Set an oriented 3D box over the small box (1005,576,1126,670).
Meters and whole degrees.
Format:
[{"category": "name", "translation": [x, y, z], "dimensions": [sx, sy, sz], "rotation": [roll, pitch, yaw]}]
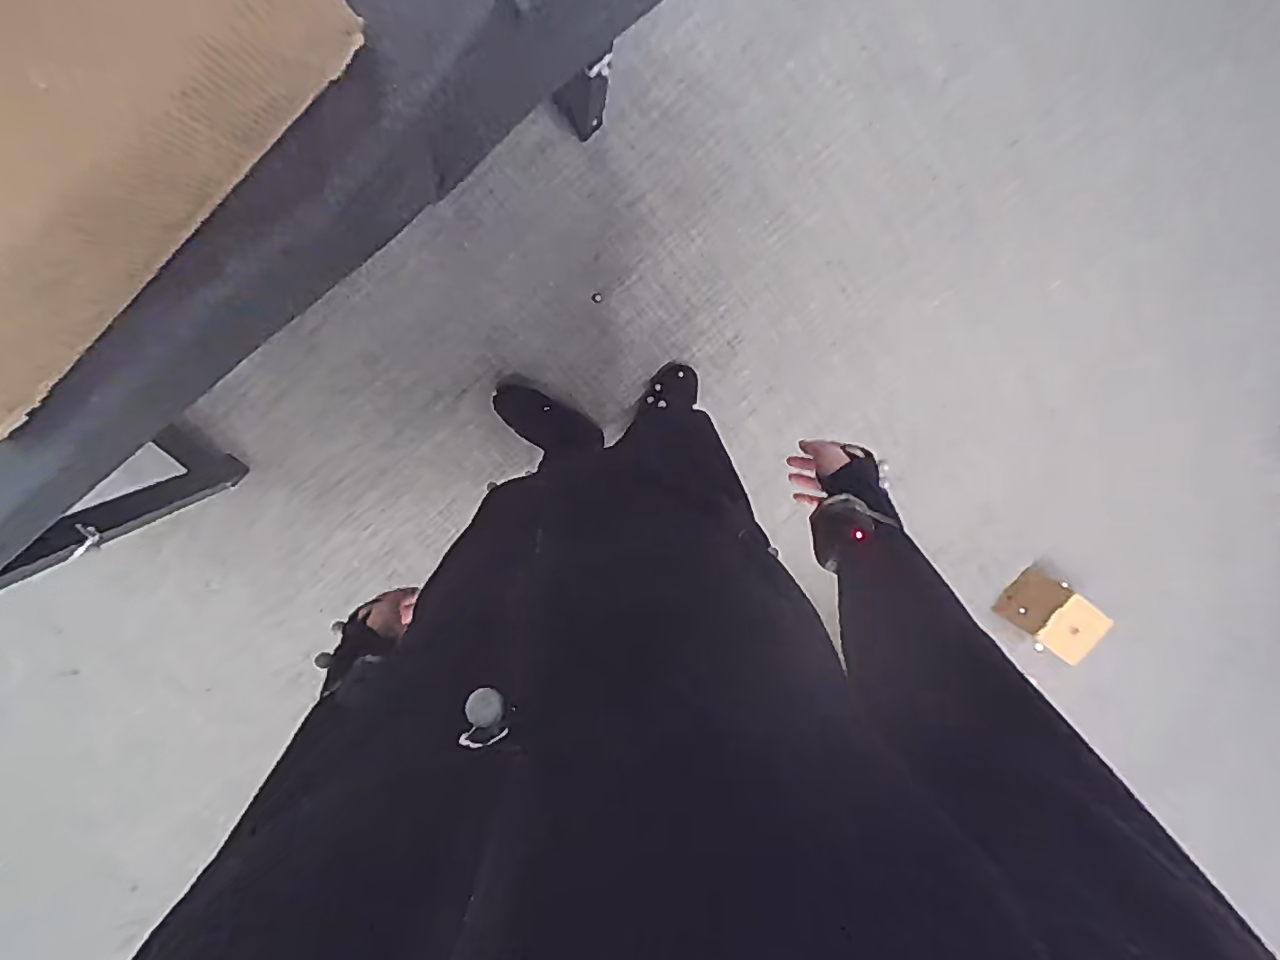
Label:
[{"category": "small box", "translation": [1.196, 0.395, 1.534], "dimensions": [0.179, 0.176, 0.168], "rotation": [32, 99, -14]}]
